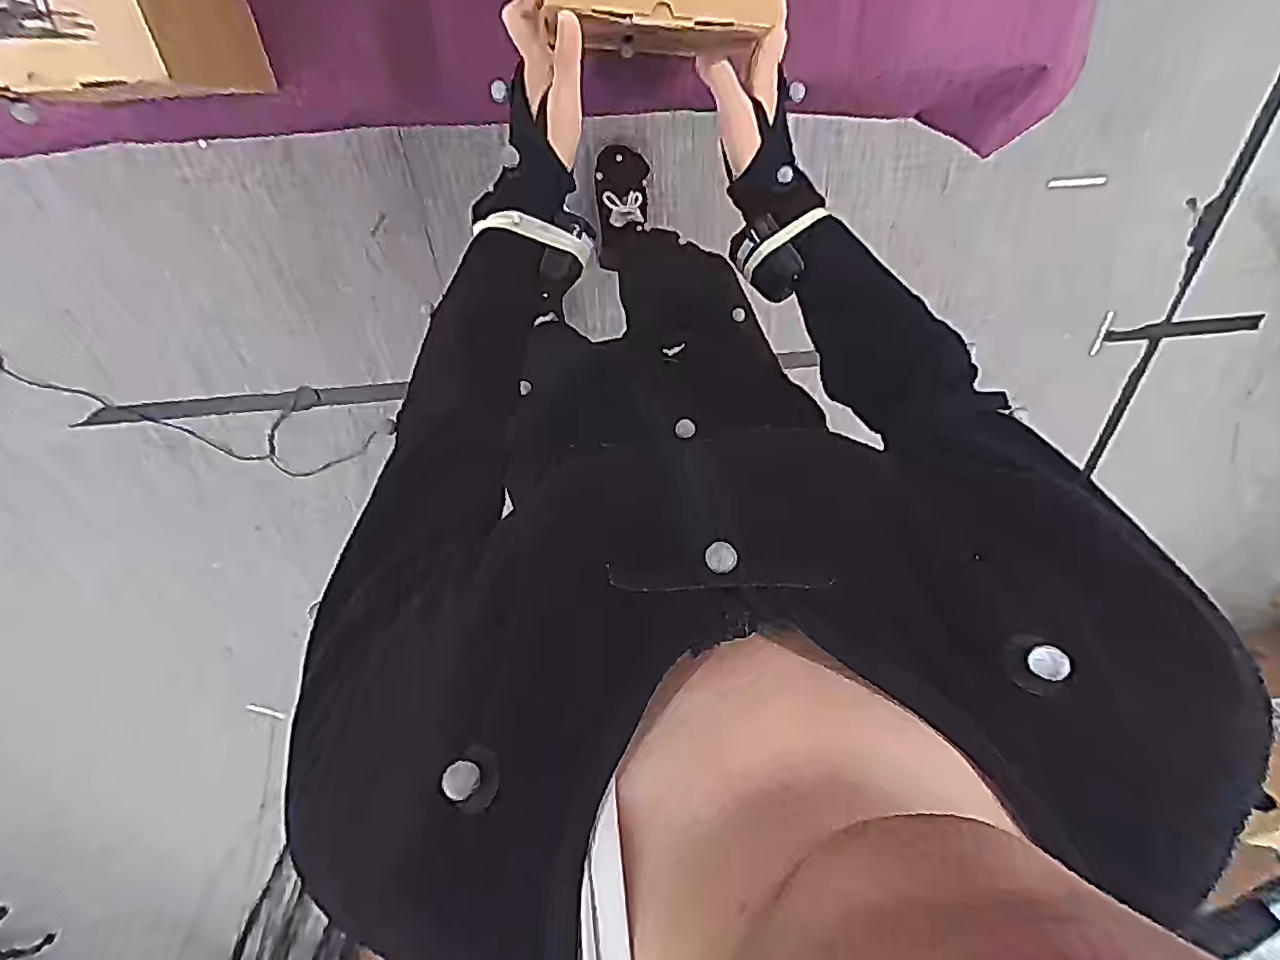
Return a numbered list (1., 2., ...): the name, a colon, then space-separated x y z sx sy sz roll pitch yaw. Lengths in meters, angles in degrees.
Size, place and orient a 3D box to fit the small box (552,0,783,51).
1. small box: 0.014 -0.441 0.399 0.168 0.176 0.179 -2 124 -7
